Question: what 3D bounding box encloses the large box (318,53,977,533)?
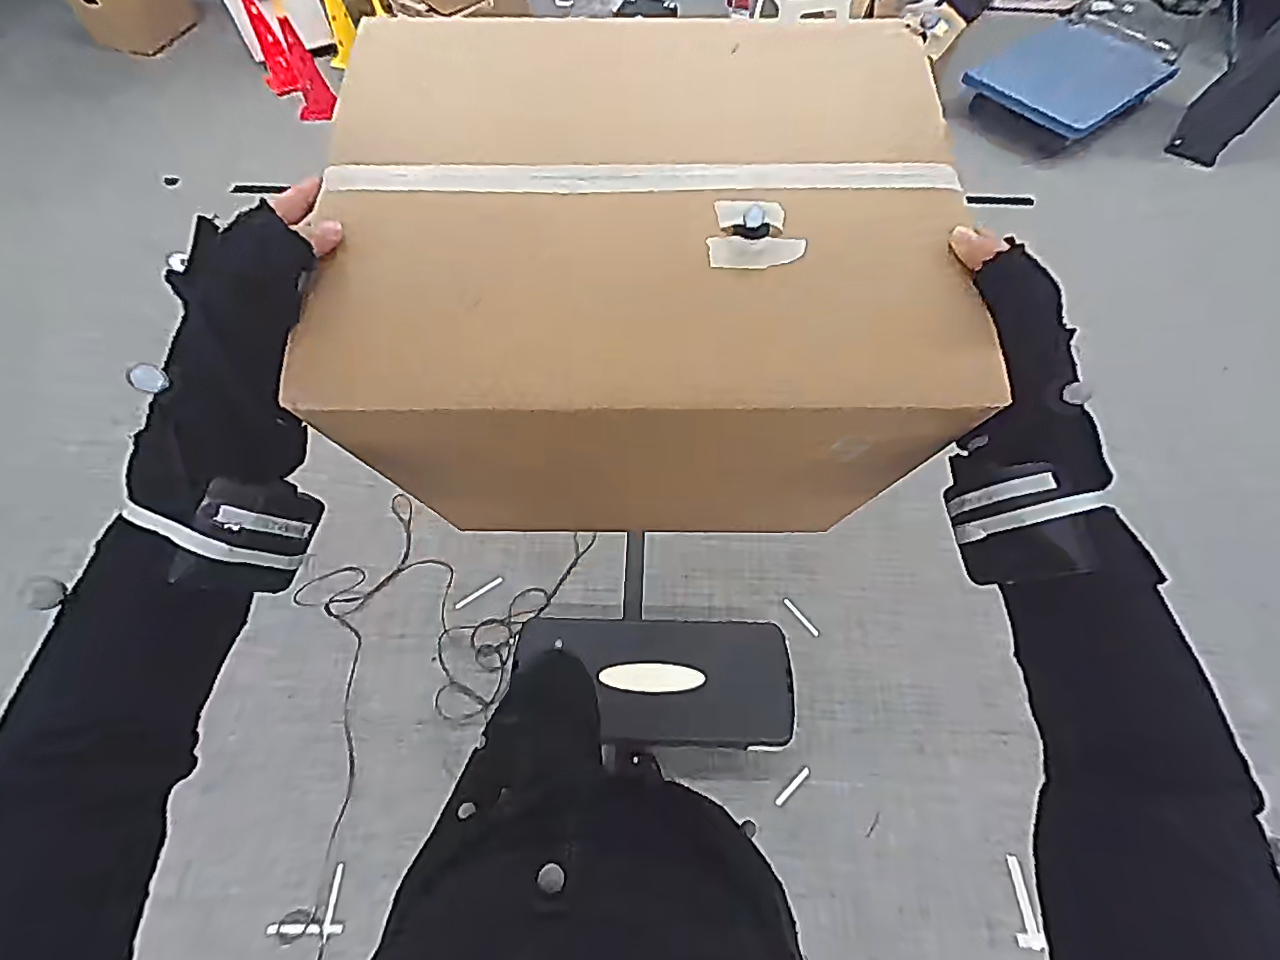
[{"bbox_3d":[0.001,-0.138,0.509,0.408,0.320,0.320,0,72,0],"label":"large box"}]
